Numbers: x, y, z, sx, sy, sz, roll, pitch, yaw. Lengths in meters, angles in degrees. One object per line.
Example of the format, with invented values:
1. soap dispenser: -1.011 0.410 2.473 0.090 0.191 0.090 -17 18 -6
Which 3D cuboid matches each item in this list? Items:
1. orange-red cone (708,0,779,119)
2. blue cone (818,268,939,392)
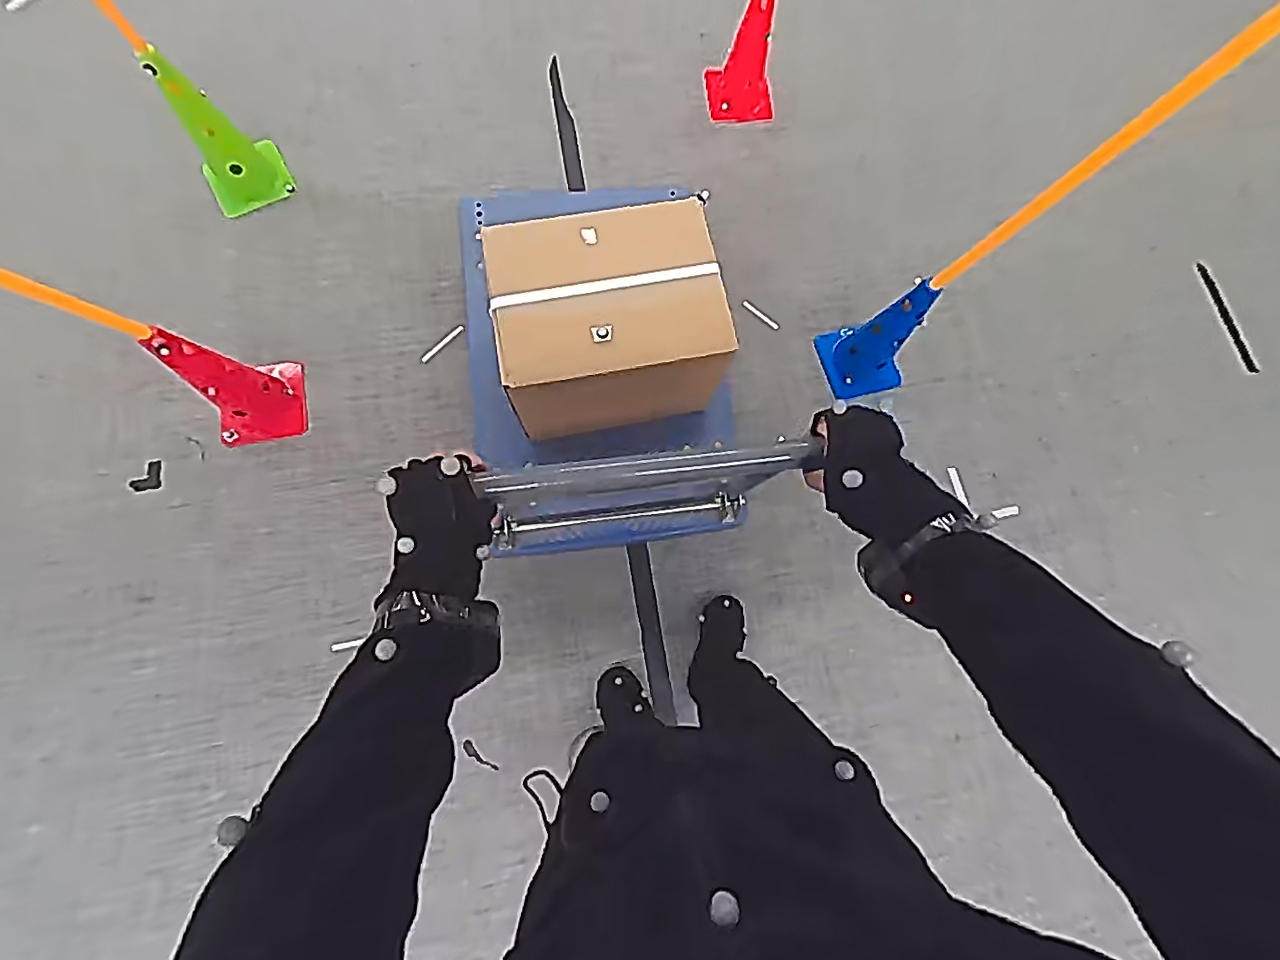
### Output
1. orange-red cone: 0.322 -1.225 1.486 0.199 0.360 0.198 -3 77 -6
2. blue cone: 0.607 -0.376 1.316 0.193 0.380 0.192 -13 77 -7
